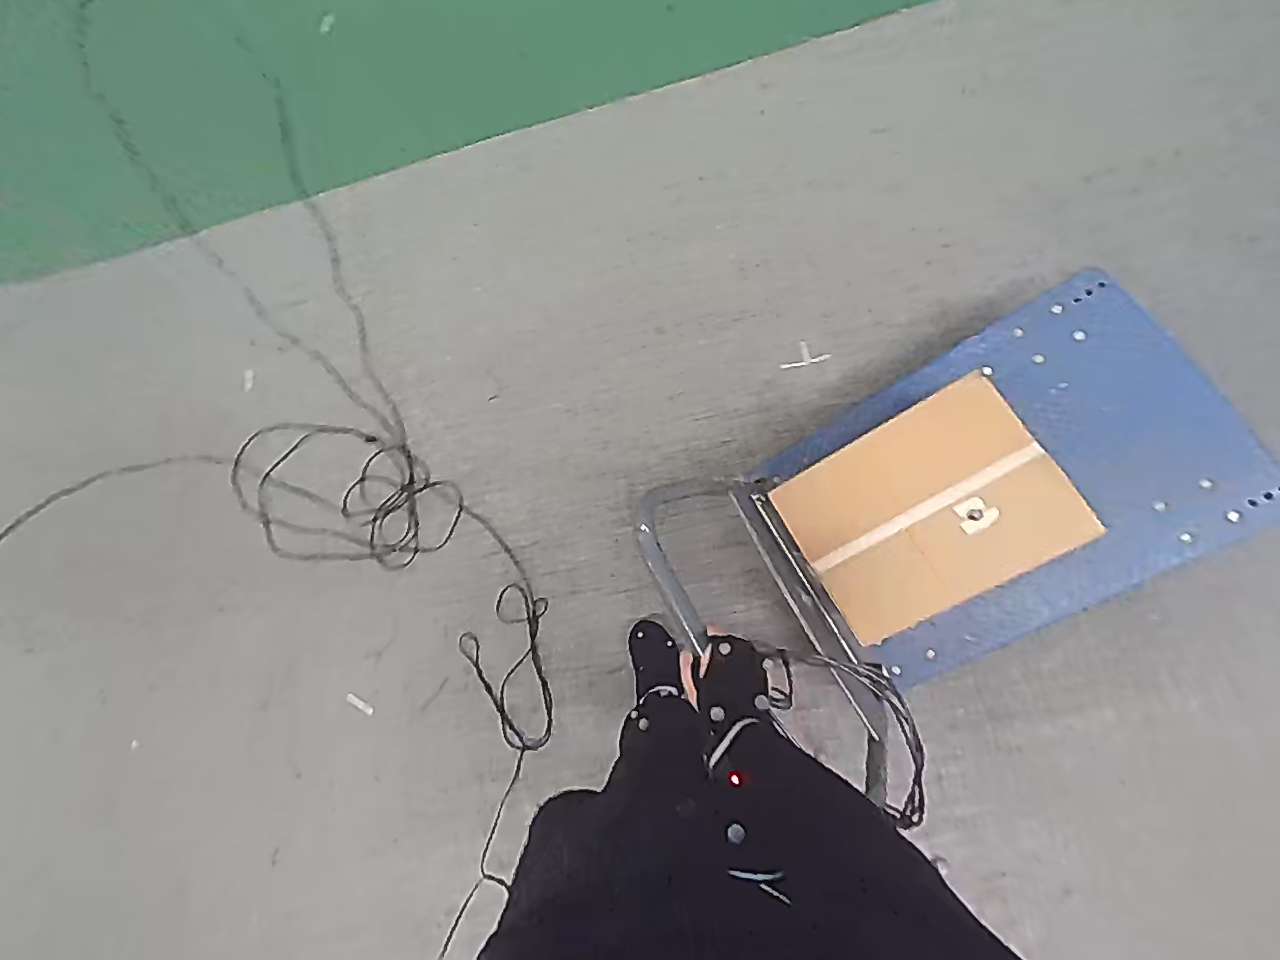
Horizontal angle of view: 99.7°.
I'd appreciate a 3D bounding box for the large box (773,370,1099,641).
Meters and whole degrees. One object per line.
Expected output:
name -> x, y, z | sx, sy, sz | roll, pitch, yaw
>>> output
large box -> 0.526, 0.061, 1.049 | 0.408, 0.320, 0.320 | -32, 75, 15
